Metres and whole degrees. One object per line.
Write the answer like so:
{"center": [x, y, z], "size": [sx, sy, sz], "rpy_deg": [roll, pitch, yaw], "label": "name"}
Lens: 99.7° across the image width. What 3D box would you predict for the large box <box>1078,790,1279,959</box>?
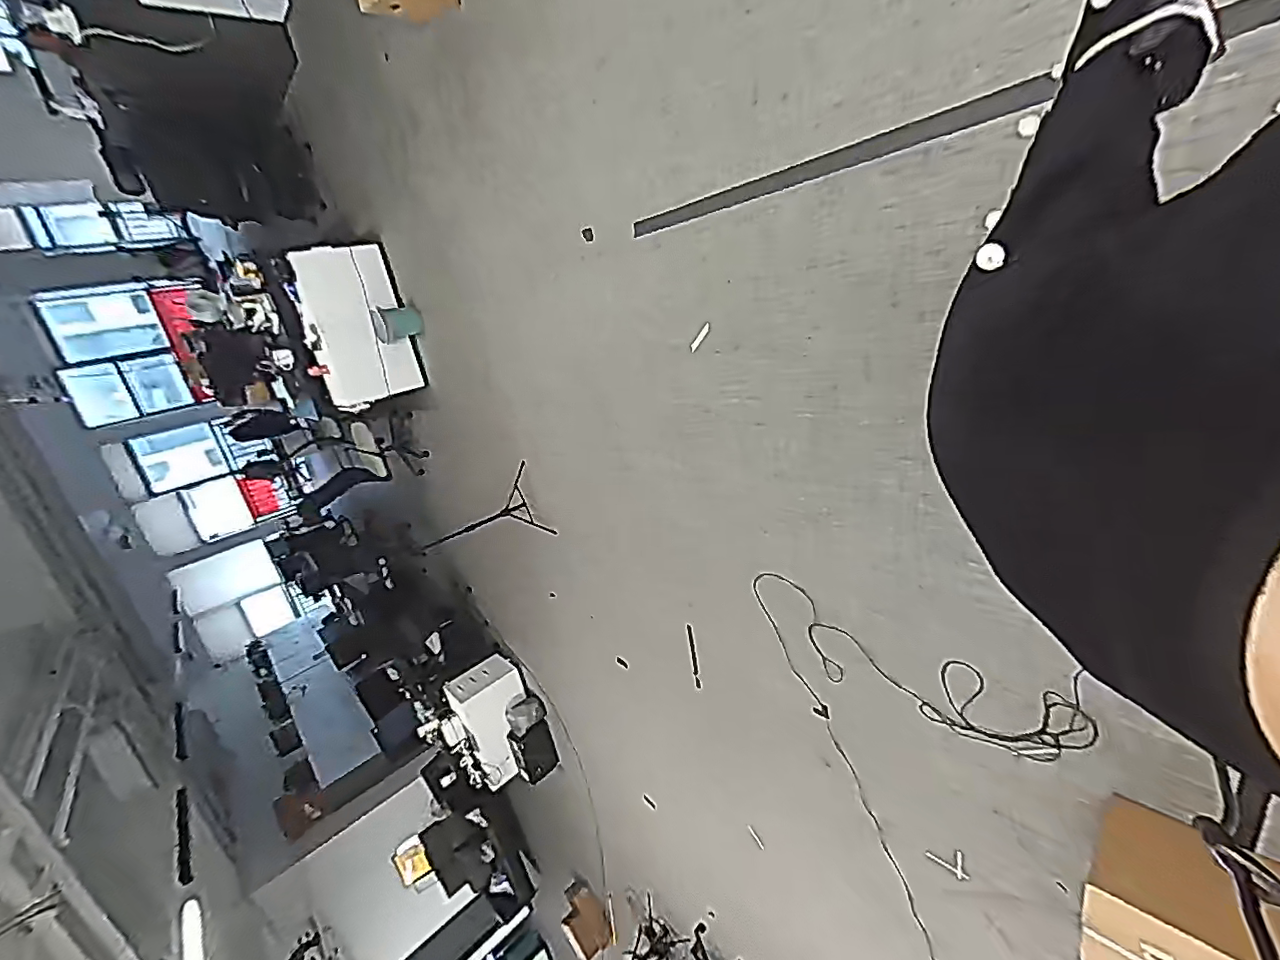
{"center": [1.346, 1.055, 1.295], "size": [0.408, 0.320, 0.320], "rpy_deg": [10, 118, 48], "label": "large box"}
